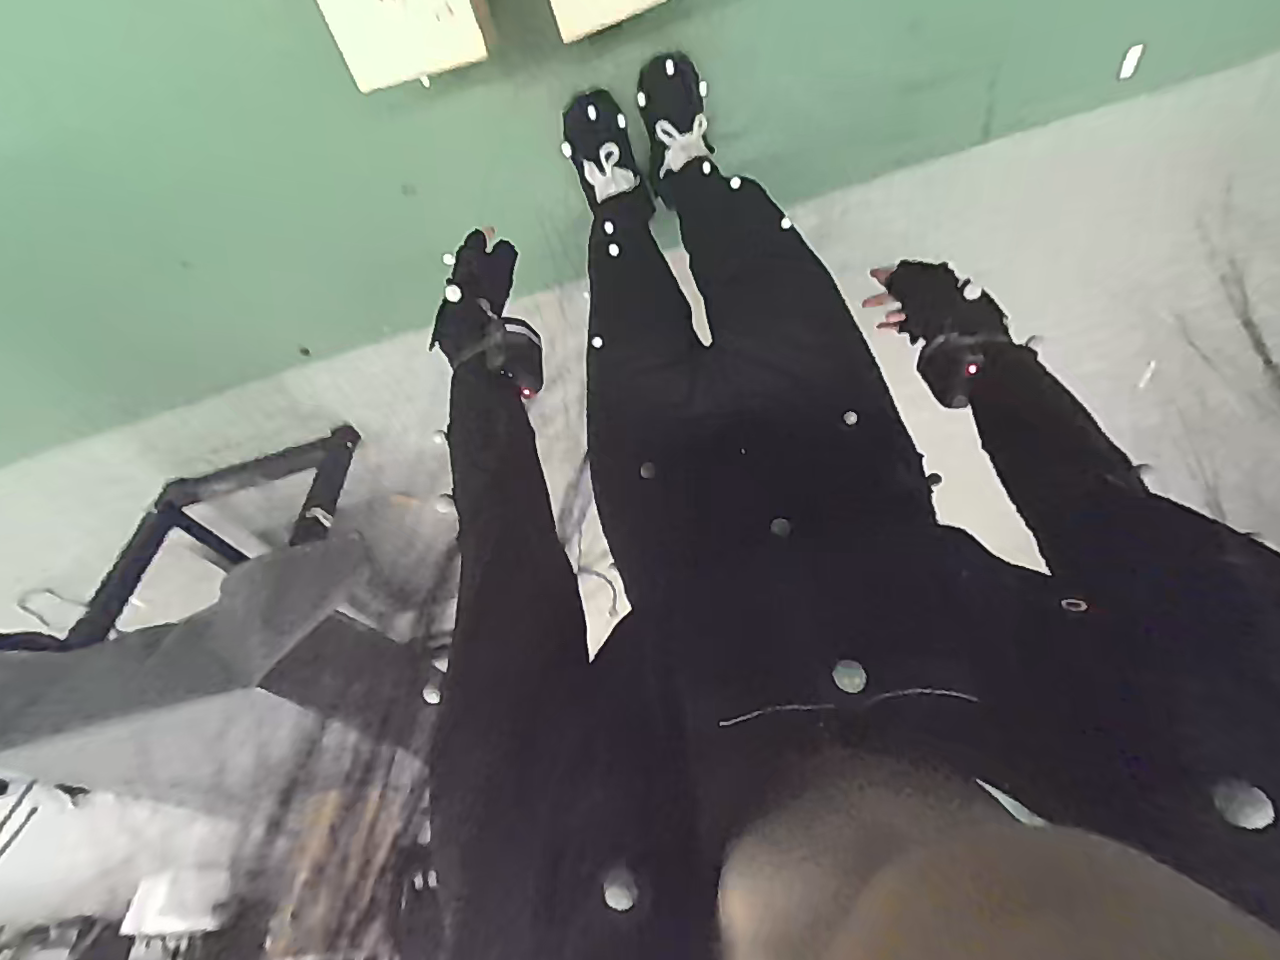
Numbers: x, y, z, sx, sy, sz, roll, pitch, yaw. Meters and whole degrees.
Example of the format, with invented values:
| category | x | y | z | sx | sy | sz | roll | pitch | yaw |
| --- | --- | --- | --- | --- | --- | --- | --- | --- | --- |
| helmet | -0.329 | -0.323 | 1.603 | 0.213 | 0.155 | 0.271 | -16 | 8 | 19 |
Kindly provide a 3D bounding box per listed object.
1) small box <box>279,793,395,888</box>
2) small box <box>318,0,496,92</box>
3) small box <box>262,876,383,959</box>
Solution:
| category | x | y | z | sx | sy | sz | roll | pitch | yaw |
| --- | --- | --- | --- | --- | --- | --- | --- | --- | --- |
| small box | -0.743 | 0.908 | 1.349 | 0.179 | 0.176 | 0.168 | -16 | 136 | 5 |
| small box | -0.300 | -0.626 | 0.693 | 0.179 | 0.176 | 0.168 | -12 | 135 | 3 |
| small box | -0.725 | 1.027 | 1.238 | 0.168 | 0.176 | 0.179 | -16 | 136 | 7 |
